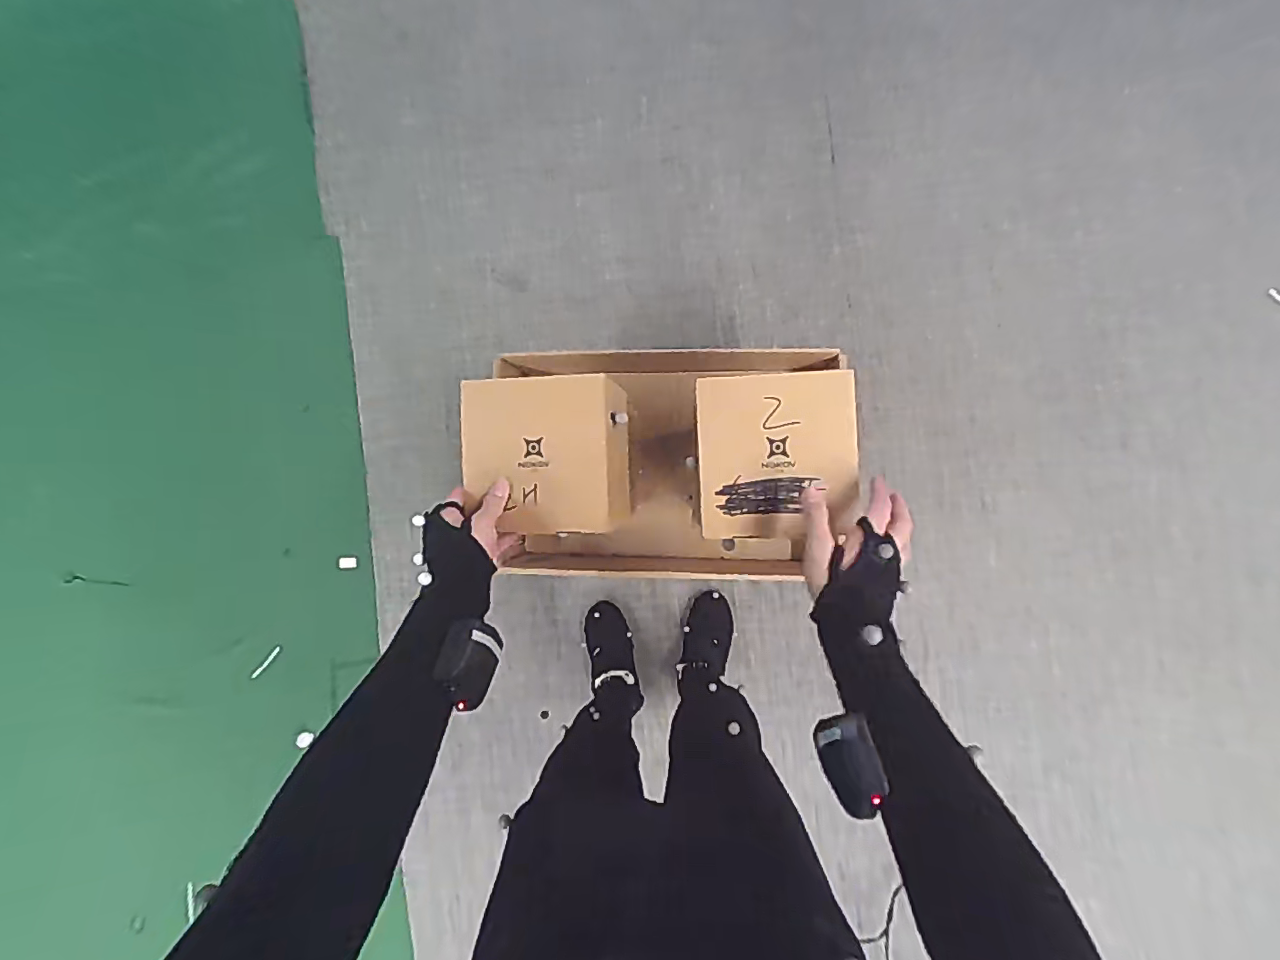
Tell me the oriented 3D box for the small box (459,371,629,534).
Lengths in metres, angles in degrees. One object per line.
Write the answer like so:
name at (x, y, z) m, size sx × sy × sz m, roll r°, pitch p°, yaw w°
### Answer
small box at (-0.107, -0.029, 0.665) m, size 0.168 × 0.176 × 0.179 m, roll -1°, pitch 91°, yaw 8°

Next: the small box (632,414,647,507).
small box at (-0.086, -0.031, 0.994) m, size 0.179 × 0.176 × 0.168 m, roll 2°, pitch 90°, yaw 6°

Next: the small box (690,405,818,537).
small box at (0.161, -0.013, 0.801) m, size 0.168 × 0.176 × 0.179 m, roll 1°, pitch 89°, yaw 6°
